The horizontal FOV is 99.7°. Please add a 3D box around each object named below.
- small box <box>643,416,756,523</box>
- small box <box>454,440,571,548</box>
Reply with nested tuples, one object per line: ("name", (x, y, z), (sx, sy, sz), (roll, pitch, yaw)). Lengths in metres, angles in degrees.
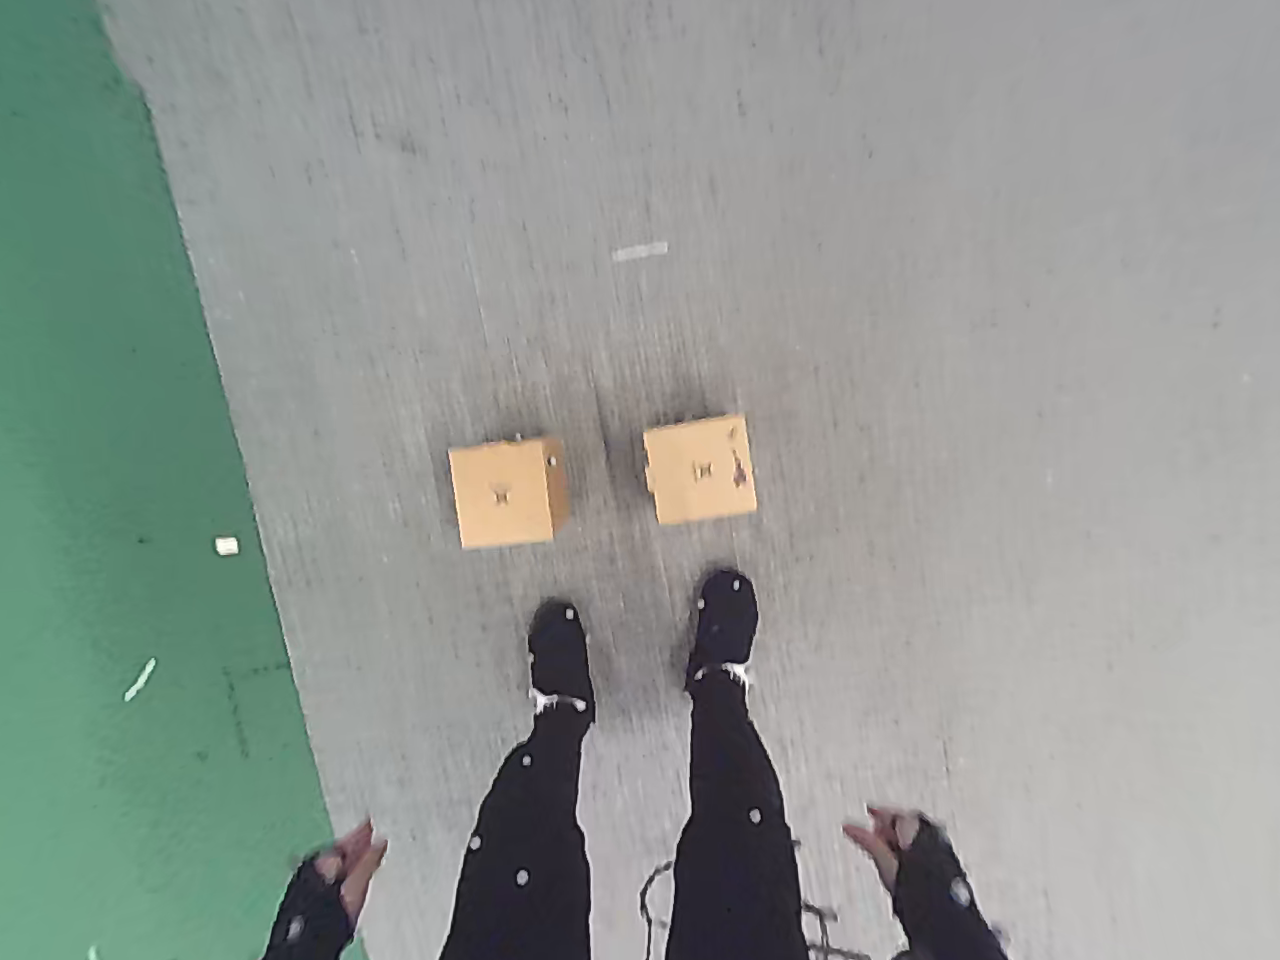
("small box", (0.108, -0.023, 1.004), (0.179, 0.176, 0.168), (-9, 96, 4))
("small box", (-0.232, 0.020, 1.026), (0.168, 0.176, 0.179), (-6, 95, 3))
